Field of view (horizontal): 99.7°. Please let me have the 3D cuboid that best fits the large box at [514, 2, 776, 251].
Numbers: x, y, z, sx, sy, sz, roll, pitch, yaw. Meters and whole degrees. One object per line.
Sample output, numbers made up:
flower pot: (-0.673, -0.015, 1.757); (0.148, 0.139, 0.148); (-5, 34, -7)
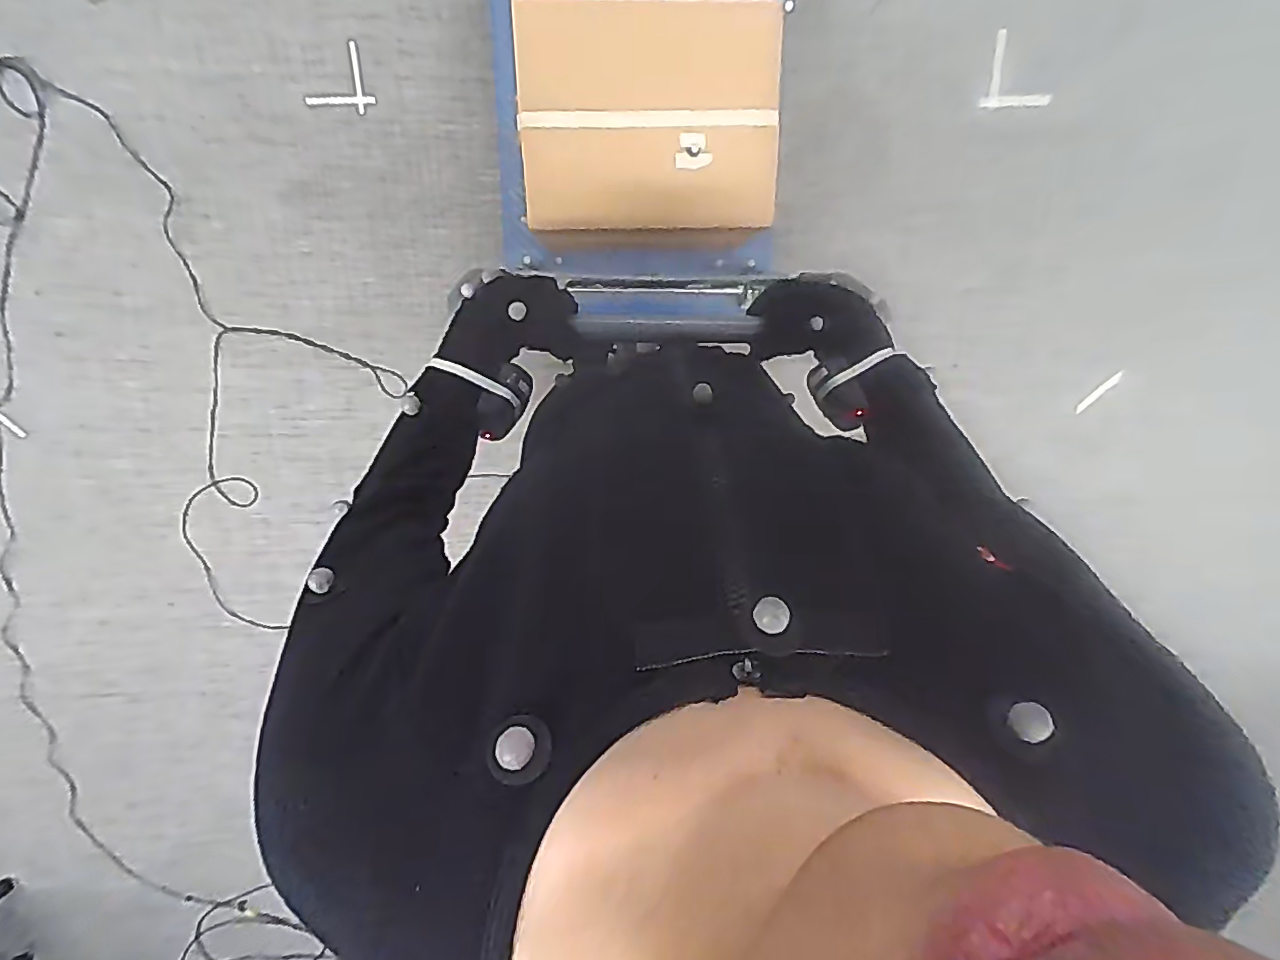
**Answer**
large box: (0.003, -0.613, 0.997); (0.408, 0.320, 0.320); (-3, 108, -4)
